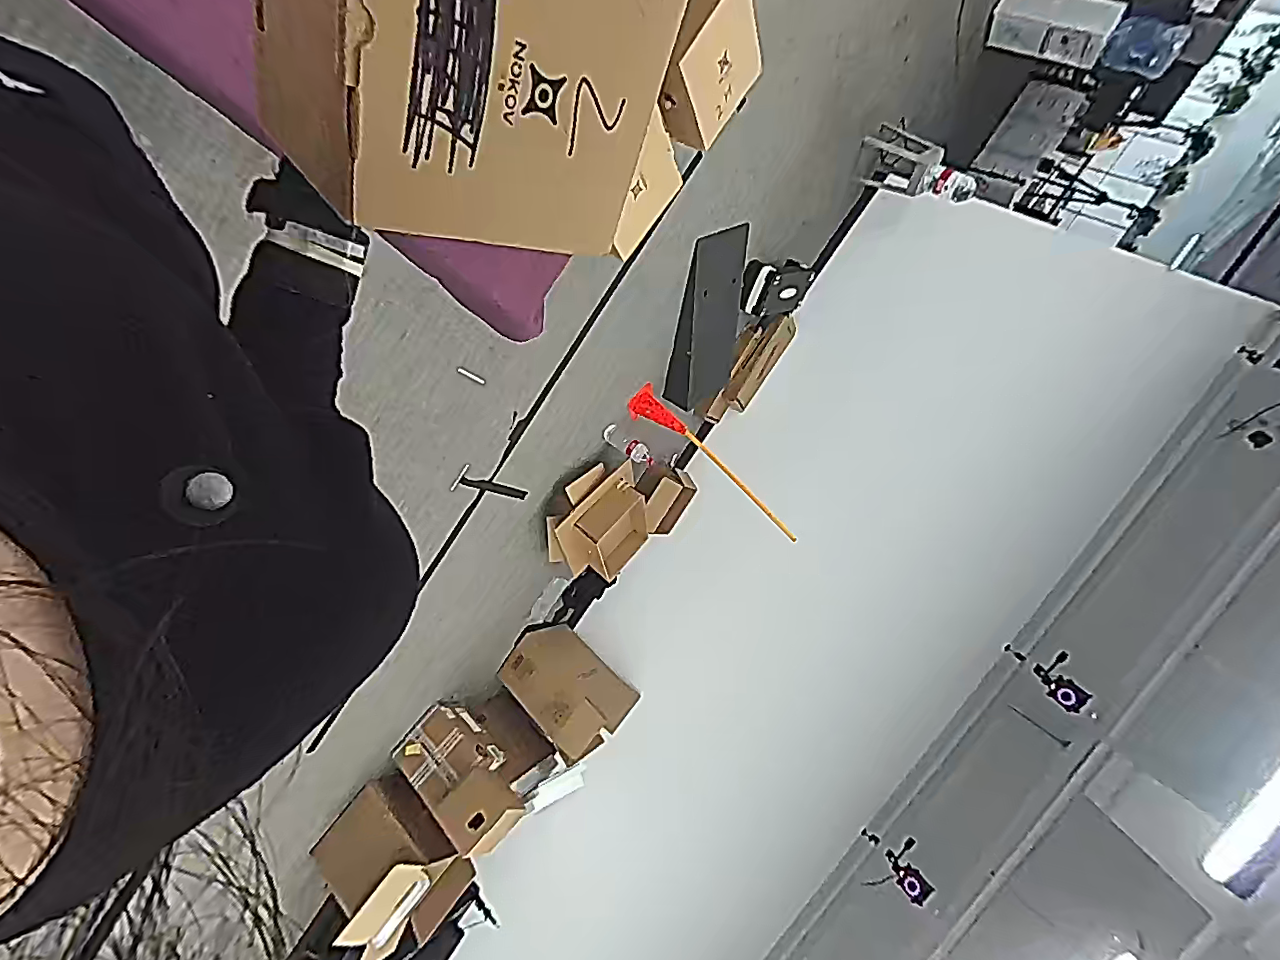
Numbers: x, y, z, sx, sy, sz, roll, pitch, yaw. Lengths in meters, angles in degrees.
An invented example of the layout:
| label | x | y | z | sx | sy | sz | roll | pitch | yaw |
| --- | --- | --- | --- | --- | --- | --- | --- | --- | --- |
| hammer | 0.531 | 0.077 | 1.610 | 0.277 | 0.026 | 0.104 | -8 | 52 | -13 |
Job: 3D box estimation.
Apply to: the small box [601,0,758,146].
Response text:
| label | x | y | z | sx | sy | sz | roll | pitch | yaw |
| --- | --- | --- | --- | --- | --- | --- | --- | --- | --- |
| small box | 0.065 | -0.693 | 0.870 | 0.168 | 0.176 | 0.179 | -54 | 159 | 4 |

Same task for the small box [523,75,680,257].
| label | x | y | z | sx | sy | sz | roll | pitch | yaw |
| --- | --- | --- | --- | --- | --- | --- | --- | --- | --- |
| small box | -0.066 | -0.513 | 0.889 | 0.179 | 0.176 | 0.168 | -55 | 157 | -1 |
